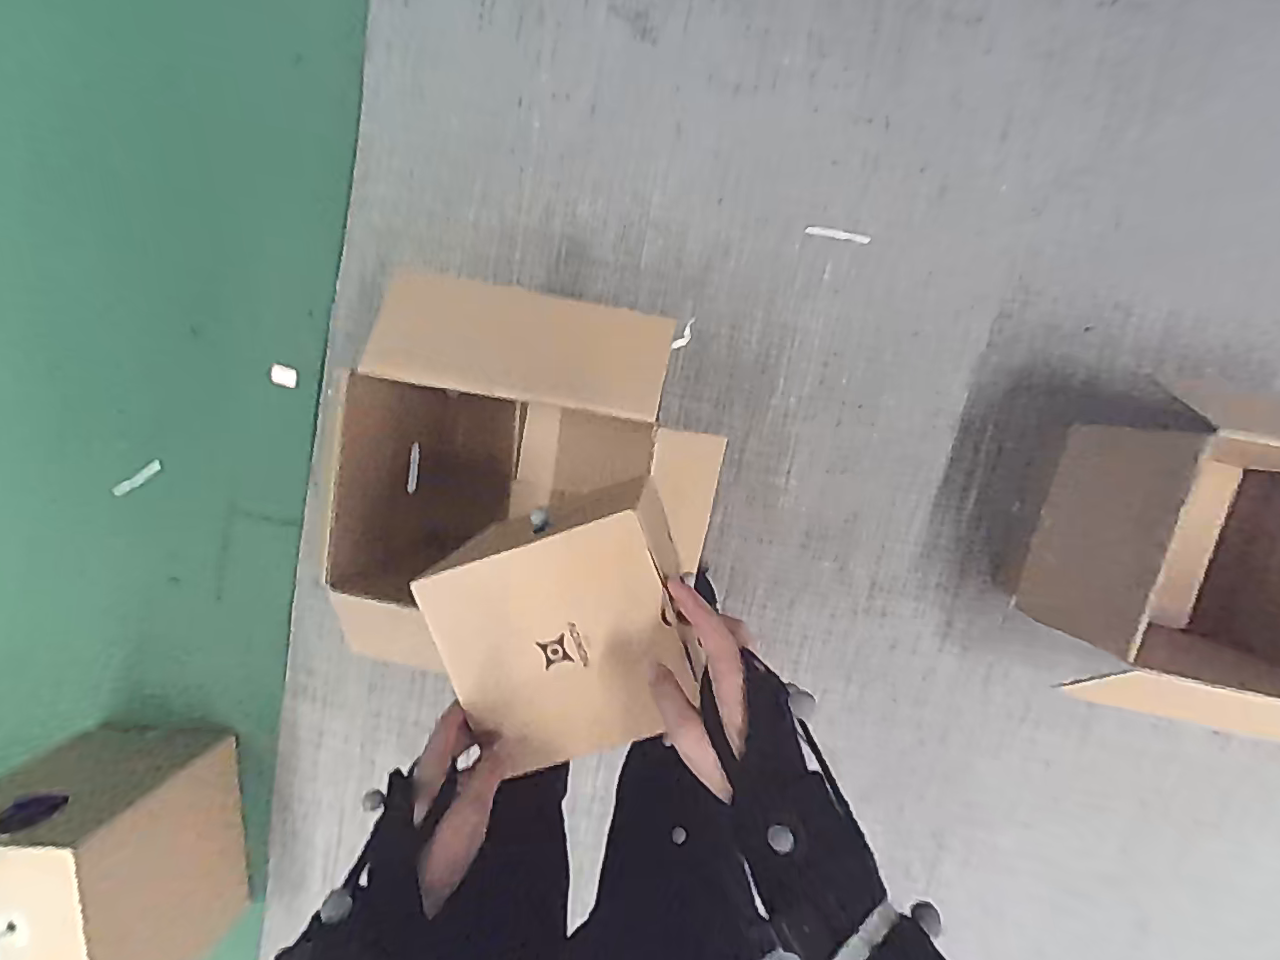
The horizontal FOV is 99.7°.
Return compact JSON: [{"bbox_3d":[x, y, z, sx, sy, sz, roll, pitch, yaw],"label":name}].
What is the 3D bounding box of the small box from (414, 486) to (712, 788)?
[{"bbox_3d":[-0.048,0.113,0.456,0.179,0.176,0.168,-18,95,6],"label":"small box"}]
